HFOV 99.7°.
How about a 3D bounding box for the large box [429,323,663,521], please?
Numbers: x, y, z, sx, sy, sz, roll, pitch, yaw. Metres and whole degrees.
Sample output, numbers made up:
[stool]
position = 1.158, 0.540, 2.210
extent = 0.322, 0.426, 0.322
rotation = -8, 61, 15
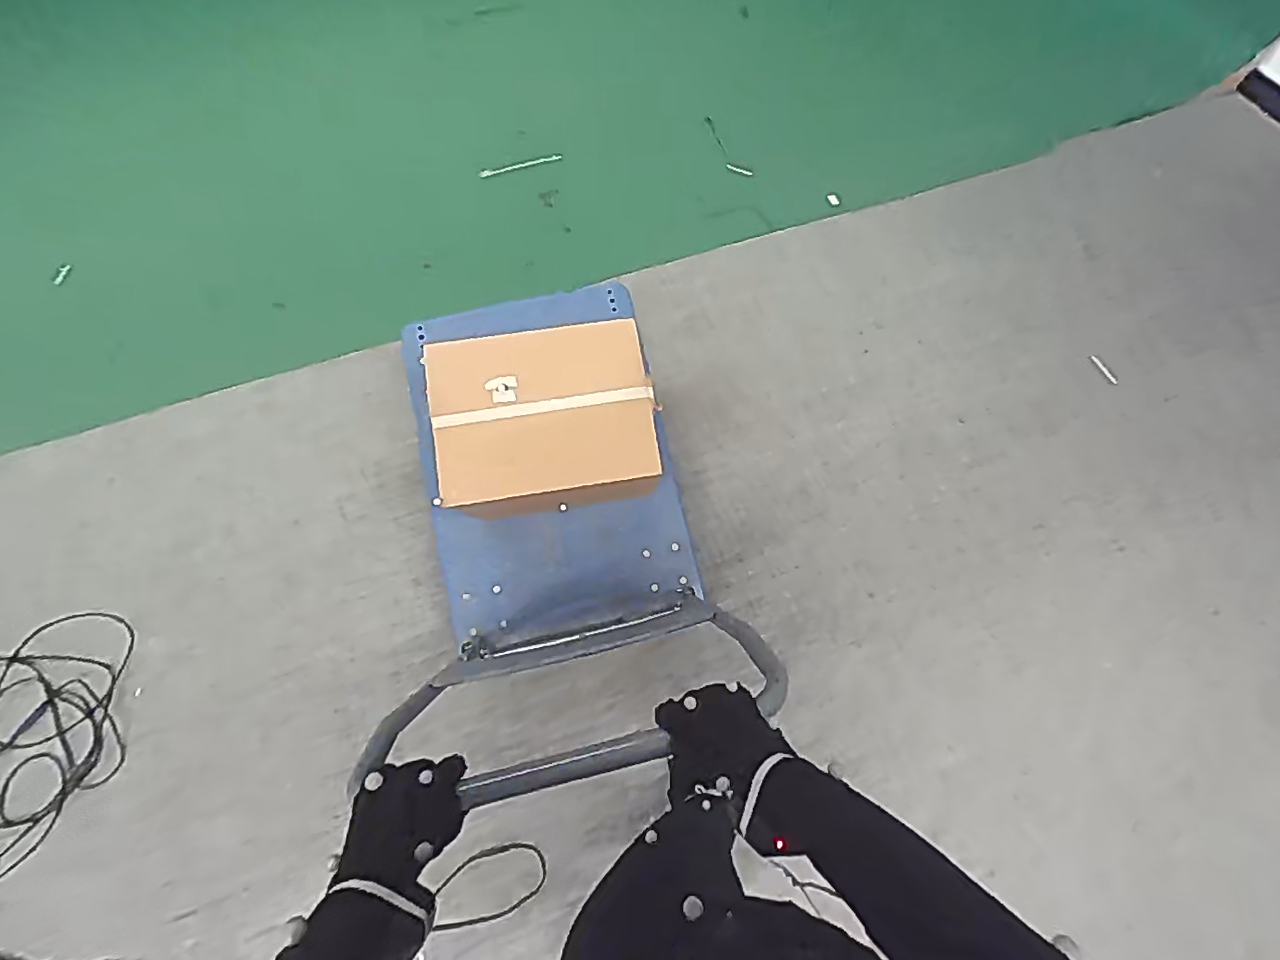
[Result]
[large box]
position = -0.182, -0.101, 1.153
extent = 0.408, 0.320, 0.320
rotation = -9, 81, -3
